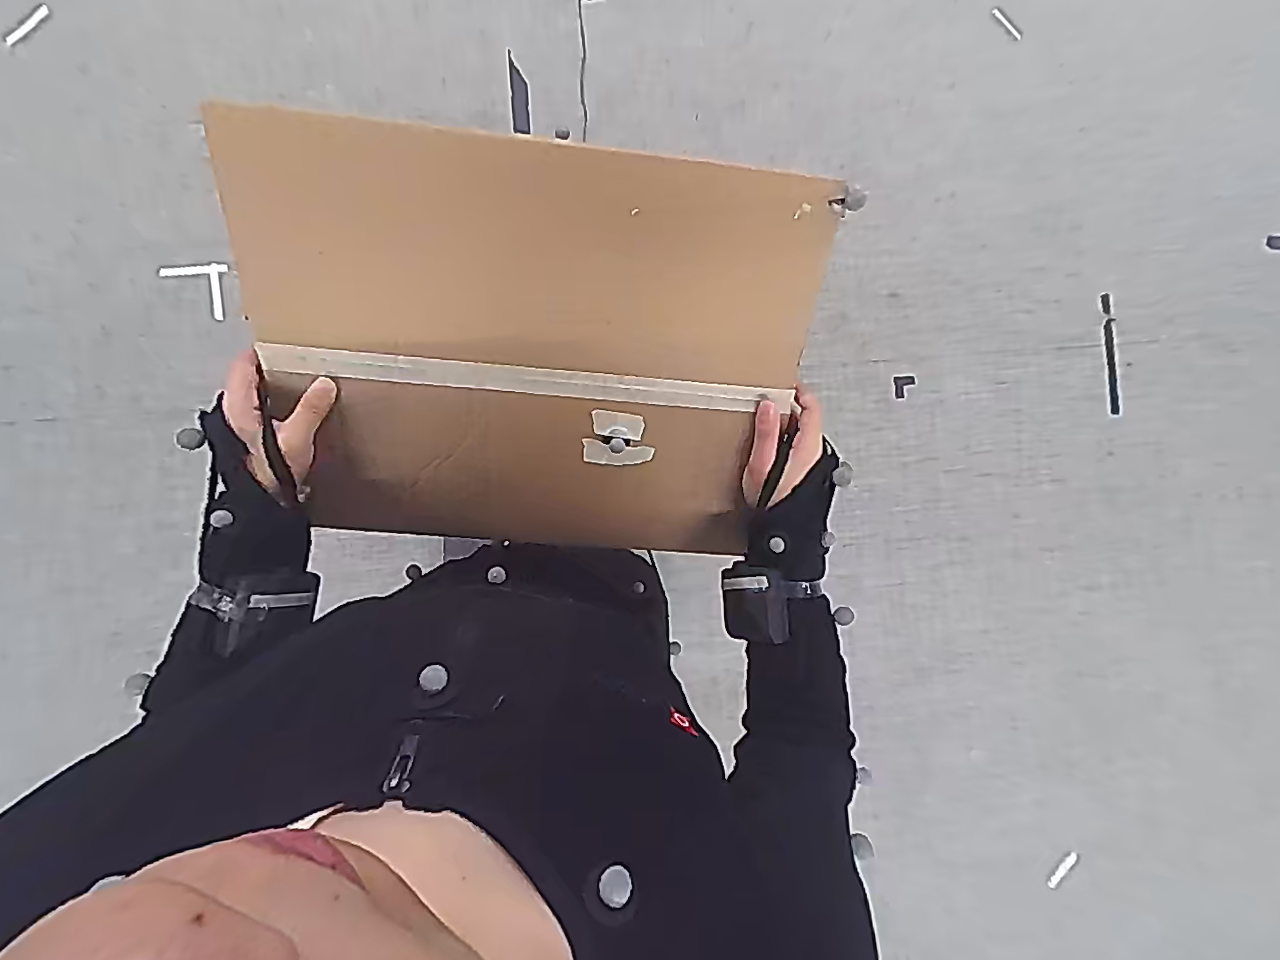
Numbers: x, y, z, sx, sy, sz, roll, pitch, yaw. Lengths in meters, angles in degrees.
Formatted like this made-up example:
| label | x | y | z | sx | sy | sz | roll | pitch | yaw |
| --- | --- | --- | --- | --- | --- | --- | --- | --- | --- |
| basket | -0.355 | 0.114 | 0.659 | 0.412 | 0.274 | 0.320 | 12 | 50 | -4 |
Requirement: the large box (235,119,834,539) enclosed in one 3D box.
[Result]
| label | x | y | z | sx | sy | sz | roll | pitch | yaw |
| --- | --- | --- | --- | --- | --- | --- | --- | --- | --- |
| large box | -0.084 | -0.158 | 0.559 | 0.408 | 0.320 | 0.320 | 3 | 121 | -6 |
